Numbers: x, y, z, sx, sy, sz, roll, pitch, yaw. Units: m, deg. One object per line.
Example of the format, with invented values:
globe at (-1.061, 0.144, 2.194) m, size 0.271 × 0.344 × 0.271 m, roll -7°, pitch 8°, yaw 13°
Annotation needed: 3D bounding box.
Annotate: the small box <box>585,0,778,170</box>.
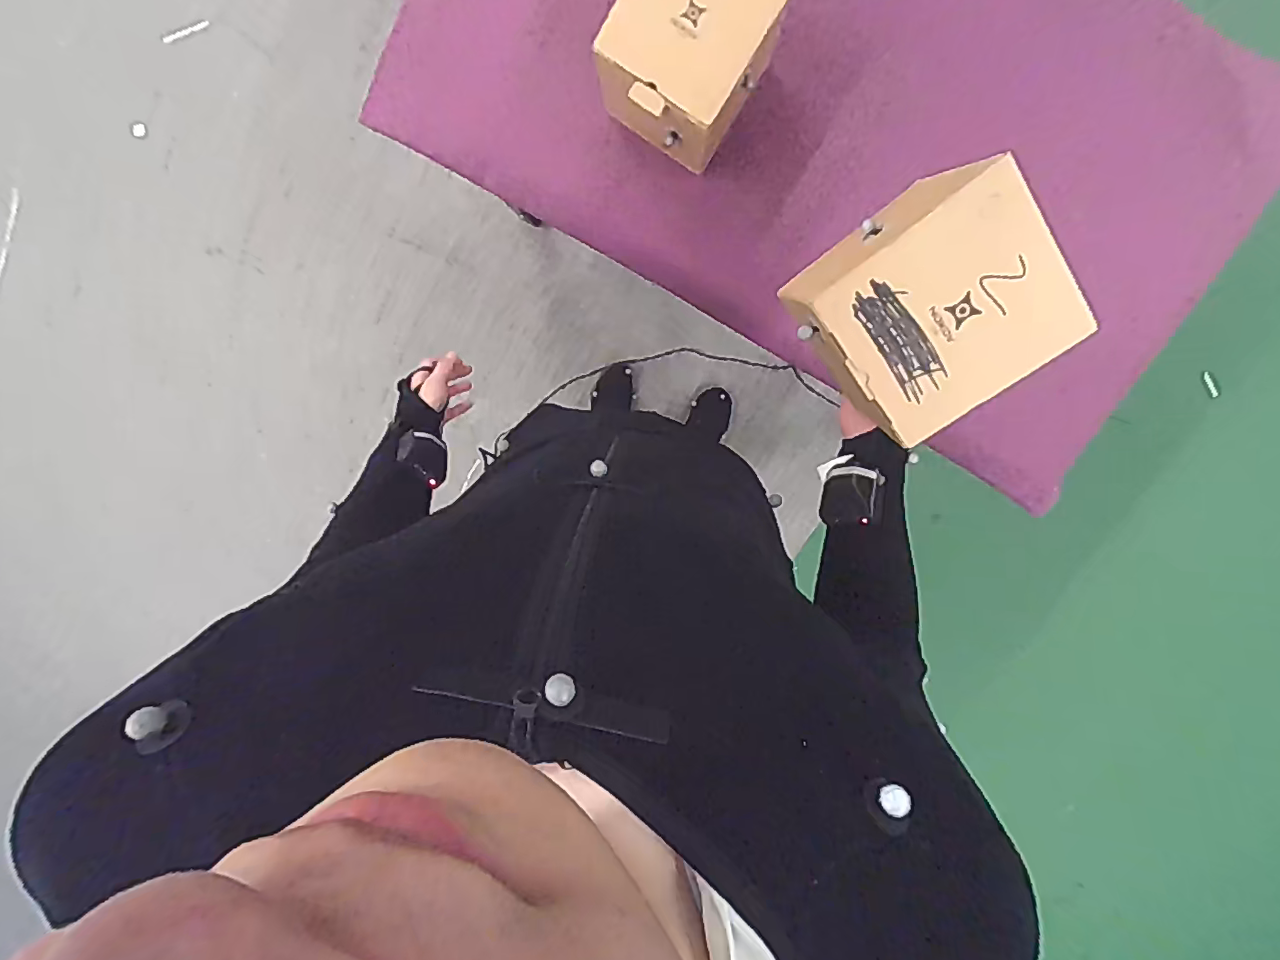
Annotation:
small box at (0.052, -0.547, 0.702) m, size 0.168 × 0.176 × 0.179 m, roll 33°, pitch 101°, yaw -5°
